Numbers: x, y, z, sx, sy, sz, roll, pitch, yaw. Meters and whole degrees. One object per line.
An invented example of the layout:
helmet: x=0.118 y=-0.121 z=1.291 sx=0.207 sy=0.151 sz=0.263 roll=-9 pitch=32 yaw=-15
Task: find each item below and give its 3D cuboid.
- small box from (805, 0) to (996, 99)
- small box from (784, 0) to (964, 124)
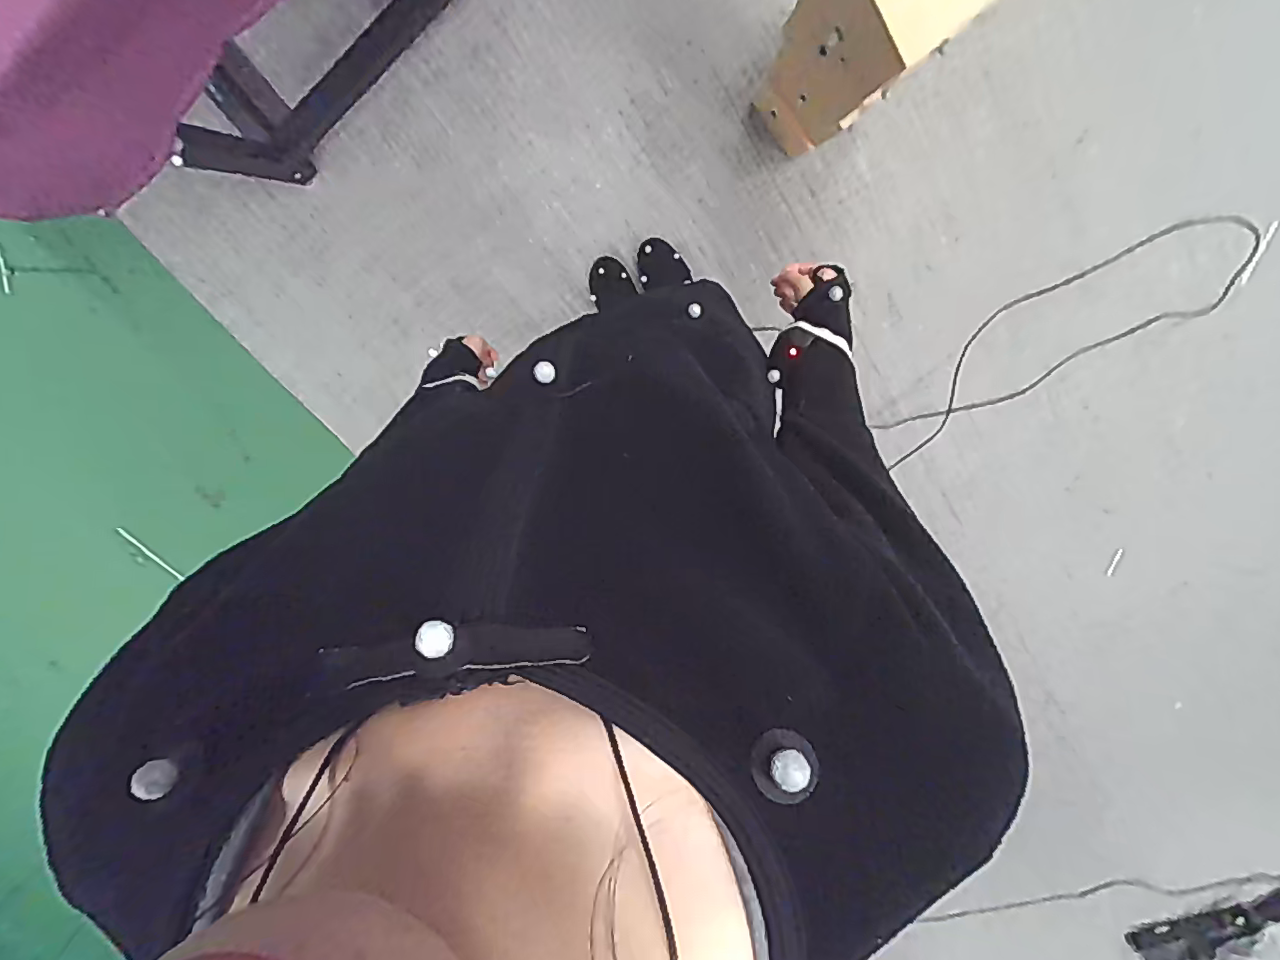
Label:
small box: x=0.335 y=-0.624 z=0.671 sx=0.179 sy=0.176 sz=0.168 roll=-34 pitch=108 yaw=15
small box: x=0.341 y=-0.688 z=0.823 sx=0.168 sy=0.176 sz=0.179 roll=-32 pitch=109 yaw=14
